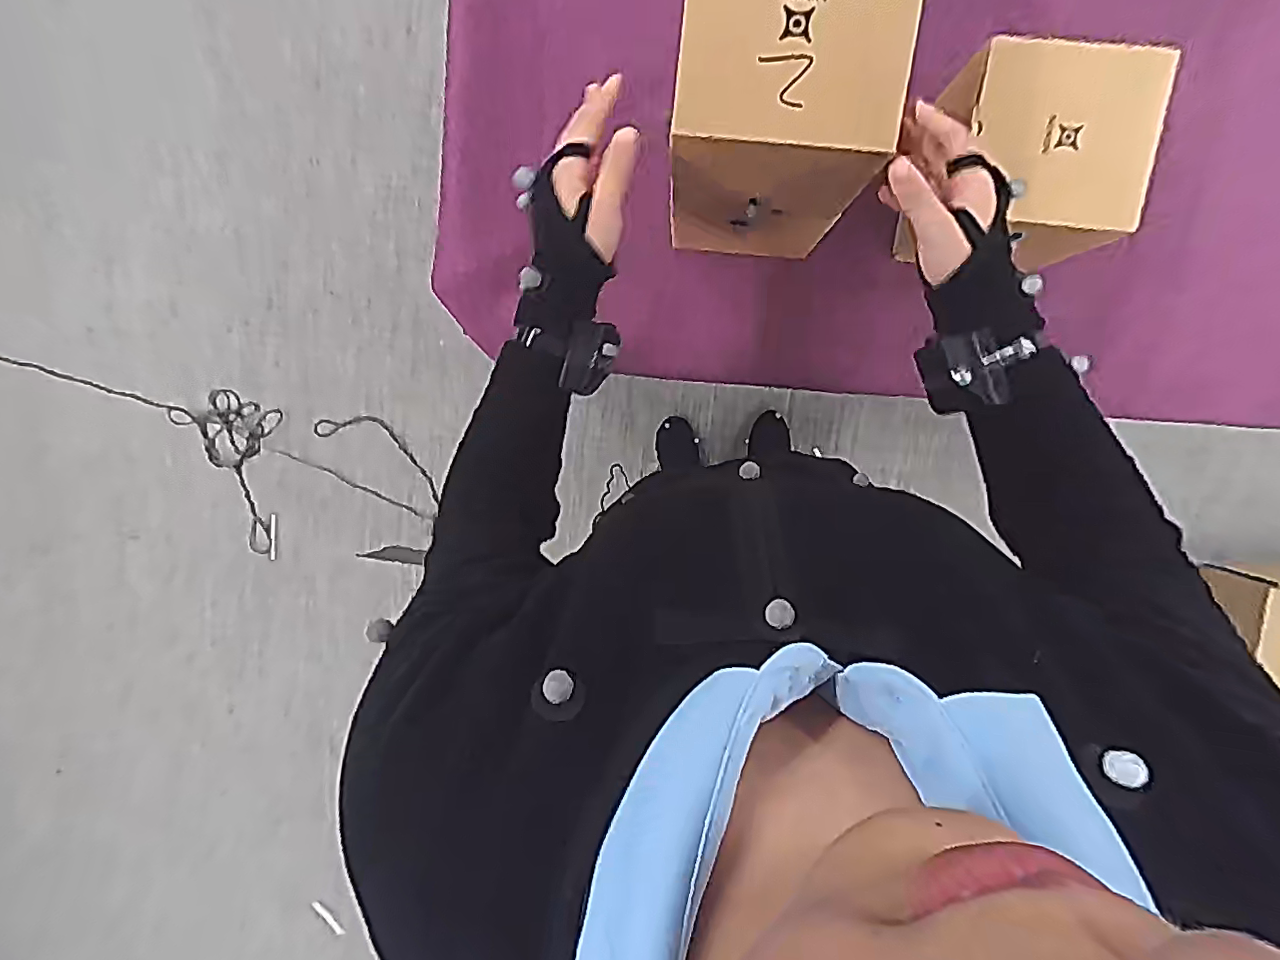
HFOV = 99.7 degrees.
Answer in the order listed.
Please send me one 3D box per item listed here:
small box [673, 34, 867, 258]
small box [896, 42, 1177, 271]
[{"bbox_3d":[0.135,-0.367,0.625,0.179,0.176,0.168,7,99,3],"label":"small box"},{"bbox_3d":[0.419,-0.342,0.606,0.179,0.176,0.168,7,99,4],"label":"small box"}]
